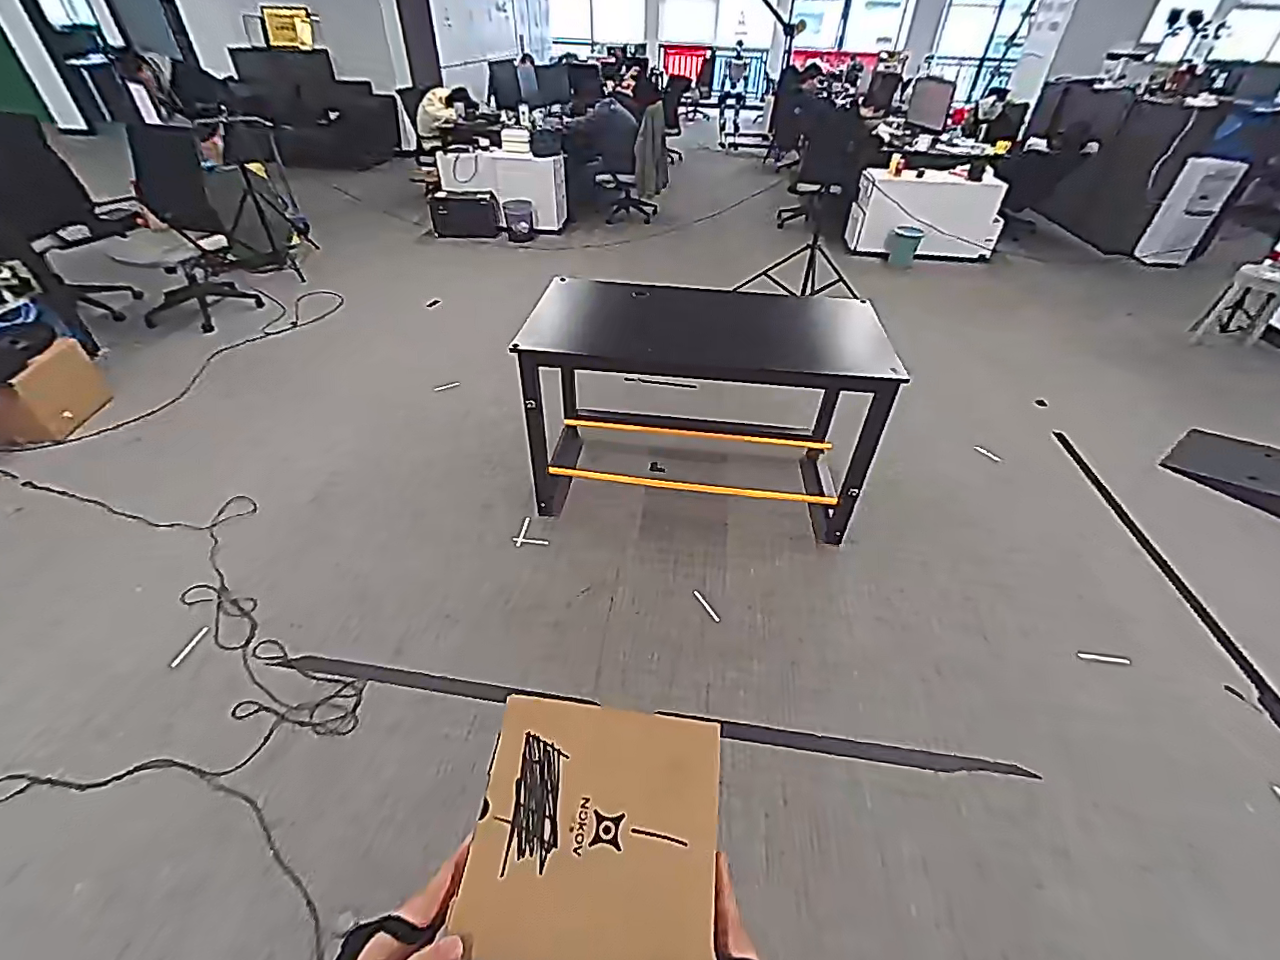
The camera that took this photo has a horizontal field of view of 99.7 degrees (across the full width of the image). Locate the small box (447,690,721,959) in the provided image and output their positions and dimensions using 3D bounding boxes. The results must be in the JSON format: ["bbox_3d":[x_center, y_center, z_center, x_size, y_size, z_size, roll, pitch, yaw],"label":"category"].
[{"bbox_3d":[-0.032,0.296,0.454,0.179,0.176,0.168,7,51,3],"label":"small box"}]
